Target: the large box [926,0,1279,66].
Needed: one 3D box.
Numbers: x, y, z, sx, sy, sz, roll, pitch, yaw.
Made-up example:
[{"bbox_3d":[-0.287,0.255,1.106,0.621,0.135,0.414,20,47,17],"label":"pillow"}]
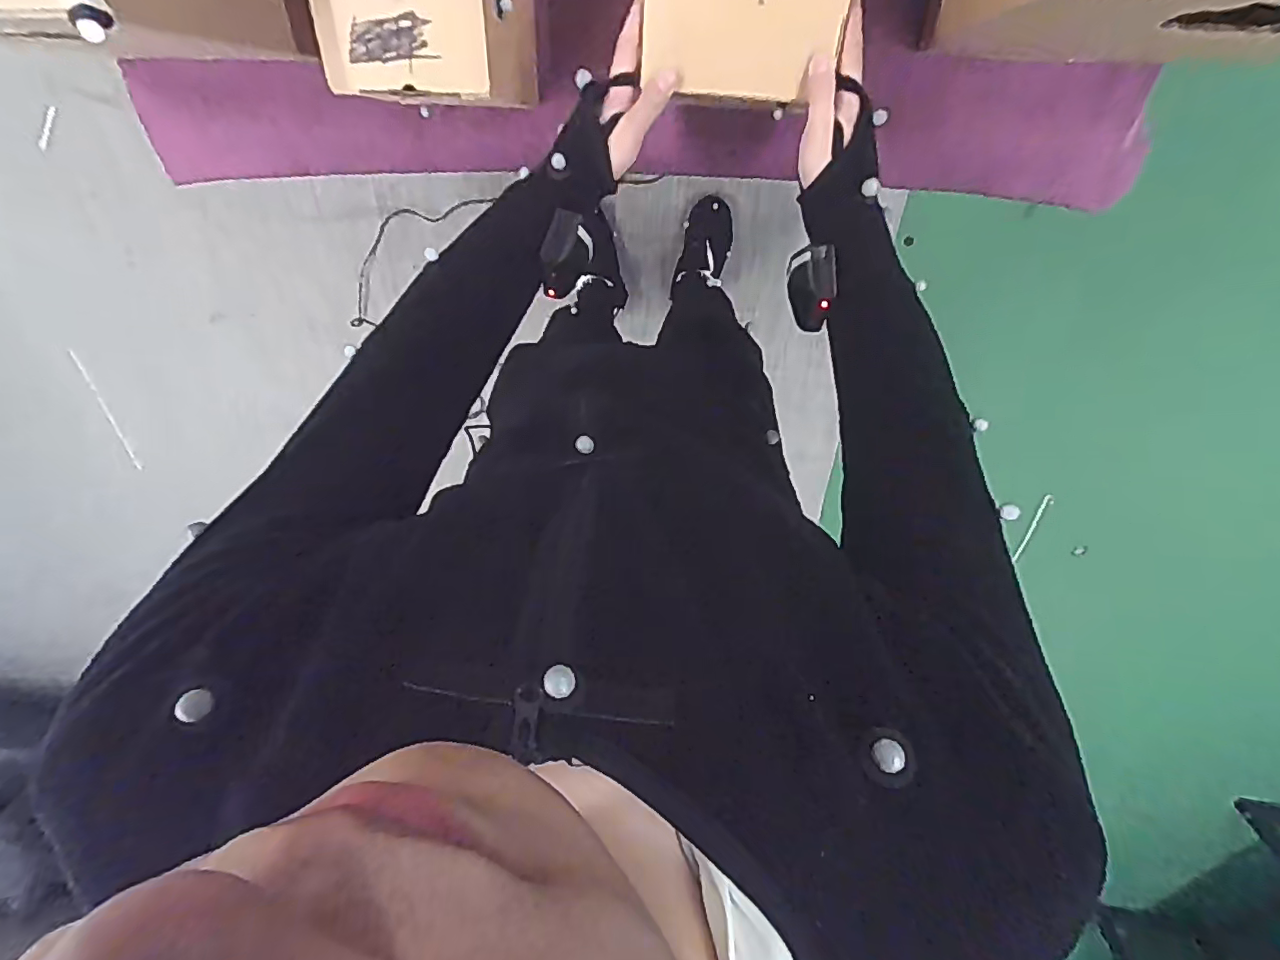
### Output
[{"bbox_3d":[0.443,-0.531,0.341,0.320,0.320,0.408,7,124,5],"label":"large box"}]
